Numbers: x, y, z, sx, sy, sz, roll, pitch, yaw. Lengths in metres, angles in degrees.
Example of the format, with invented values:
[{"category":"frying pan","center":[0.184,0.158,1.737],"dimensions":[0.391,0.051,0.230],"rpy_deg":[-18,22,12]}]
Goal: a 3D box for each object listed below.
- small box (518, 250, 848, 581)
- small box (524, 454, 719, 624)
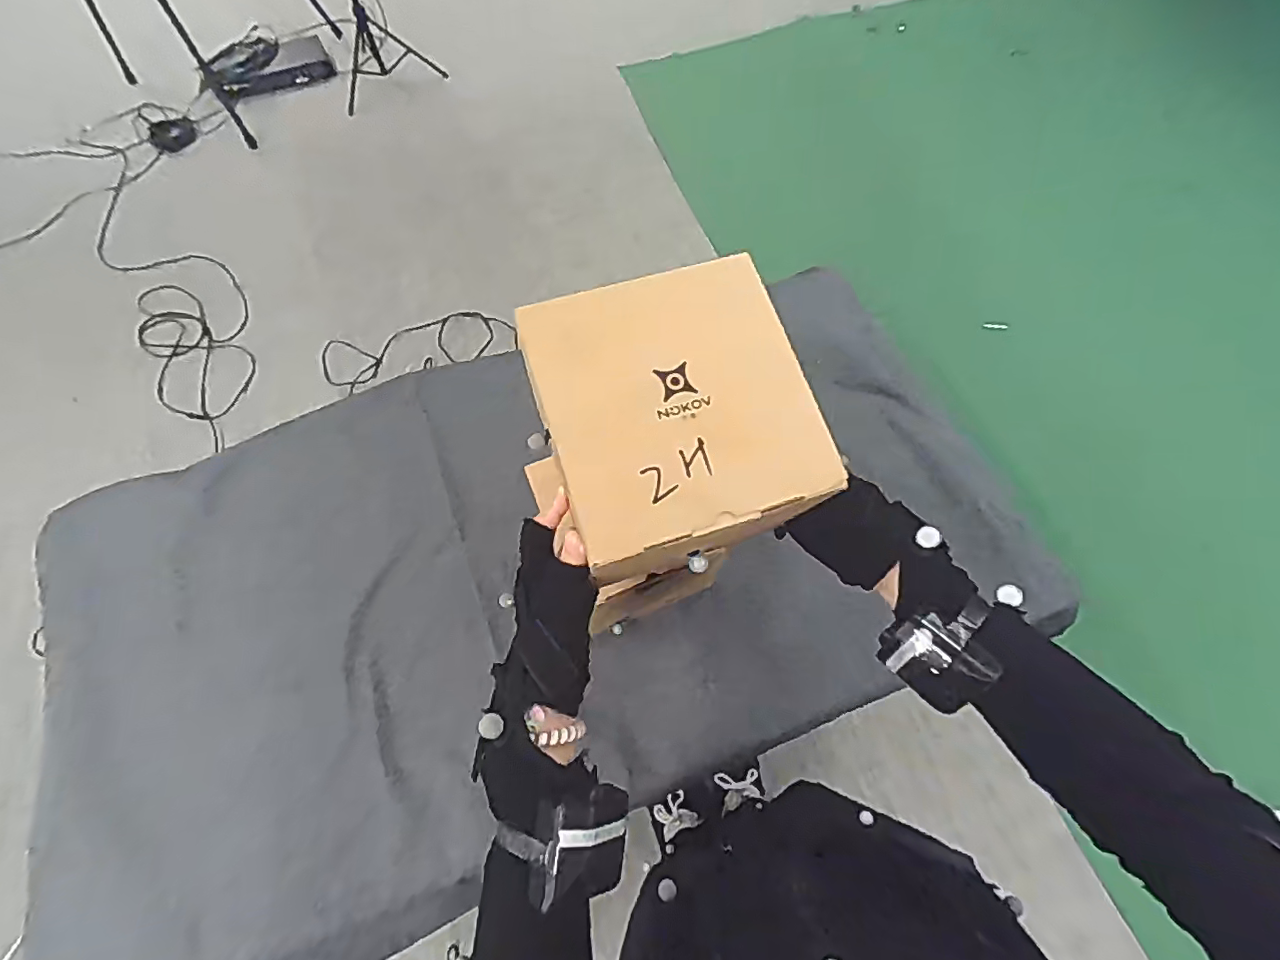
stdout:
[{"category":"small box","center":[0.018,-0.033,0.410],"dimensions":[0.168,0.176,0.179],"rpy_deg":[-17,78,-8]},{"category":"small box","center":[-0.020,0.059,0.647],"dimensions":[0.168,0.176,0.179],"rpy_deg":[-22,67,-8]}]
